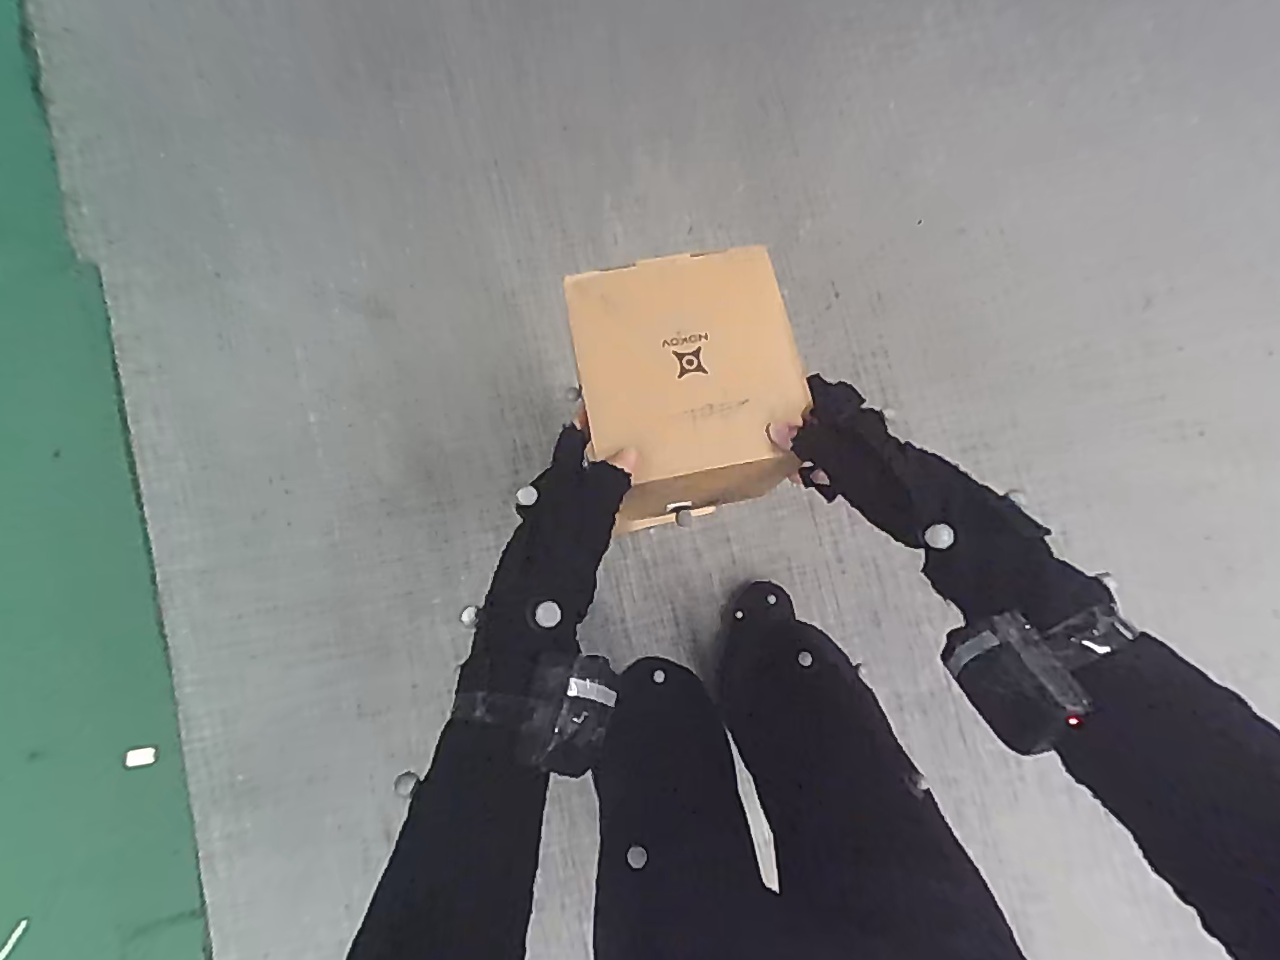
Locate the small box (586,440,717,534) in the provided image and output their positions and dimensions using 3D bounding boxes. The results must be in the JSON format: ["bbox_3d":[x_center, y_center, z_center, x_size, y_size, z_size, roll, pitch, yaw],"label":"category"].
[{"bbox_3d":[0.019,-0.005,0.905,0.179,0.176,0.168,-12,86,0],"label":"small box"}]

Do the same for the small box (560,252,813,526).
[{"bbox_3d":[0.031,-0.068,0.489,0.168,0.176,0.179,-12,78,-2],"label":"small box"}]
